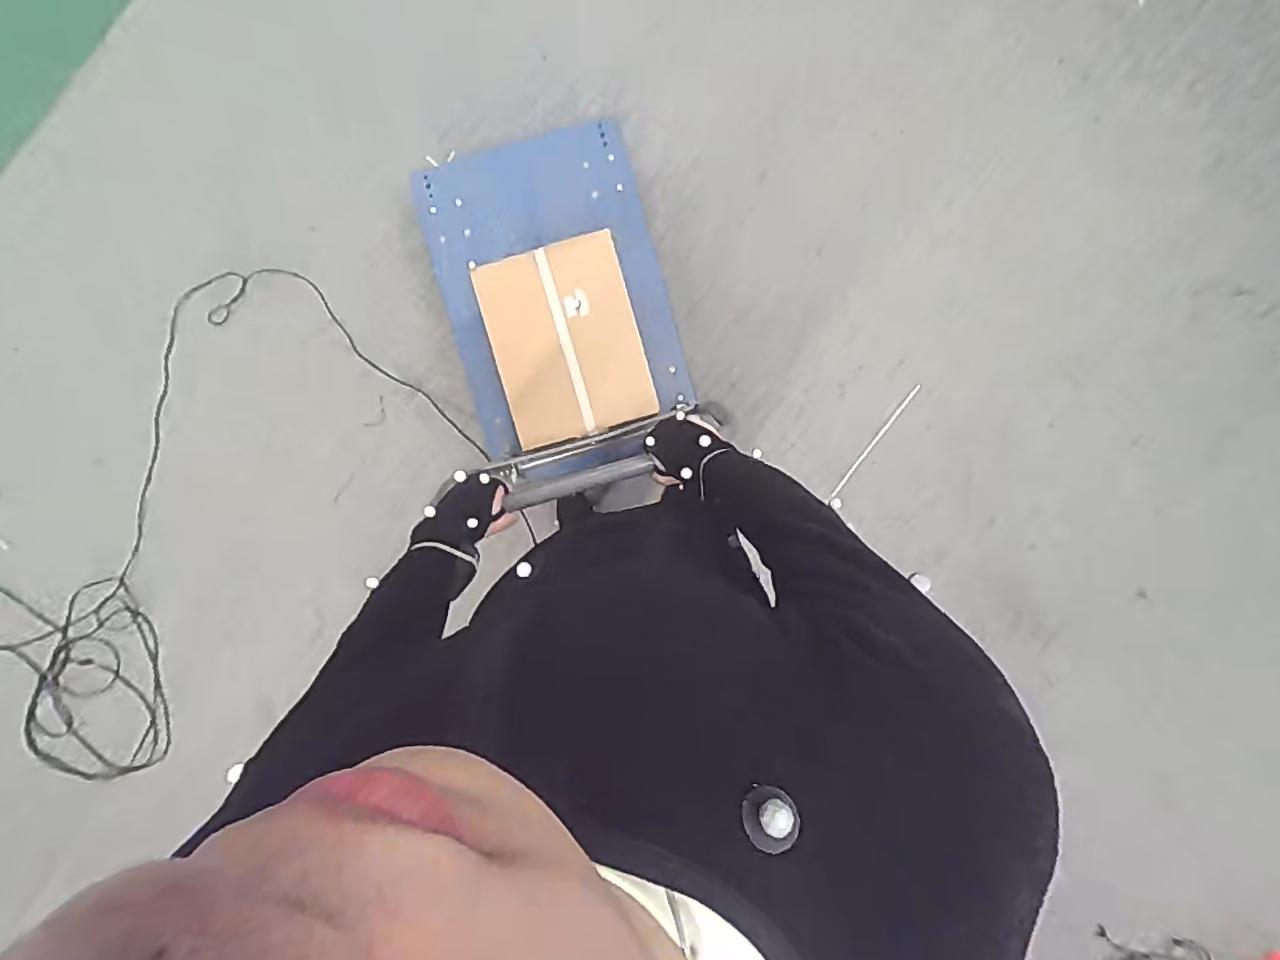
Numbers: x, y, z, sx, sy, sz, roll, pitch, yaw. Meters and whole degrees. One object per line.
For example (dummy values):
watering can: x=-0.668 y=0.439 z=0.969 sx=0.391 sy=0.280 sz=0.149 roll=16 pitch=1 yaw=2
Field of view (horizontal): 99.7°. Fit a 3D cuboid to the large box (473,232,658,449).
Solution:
large box: x=-0.159 y=-0.310 z=1.320 sx=0.320 sy=0.320 sz=0.408 roll=-16 pitch=92 yaw=0
